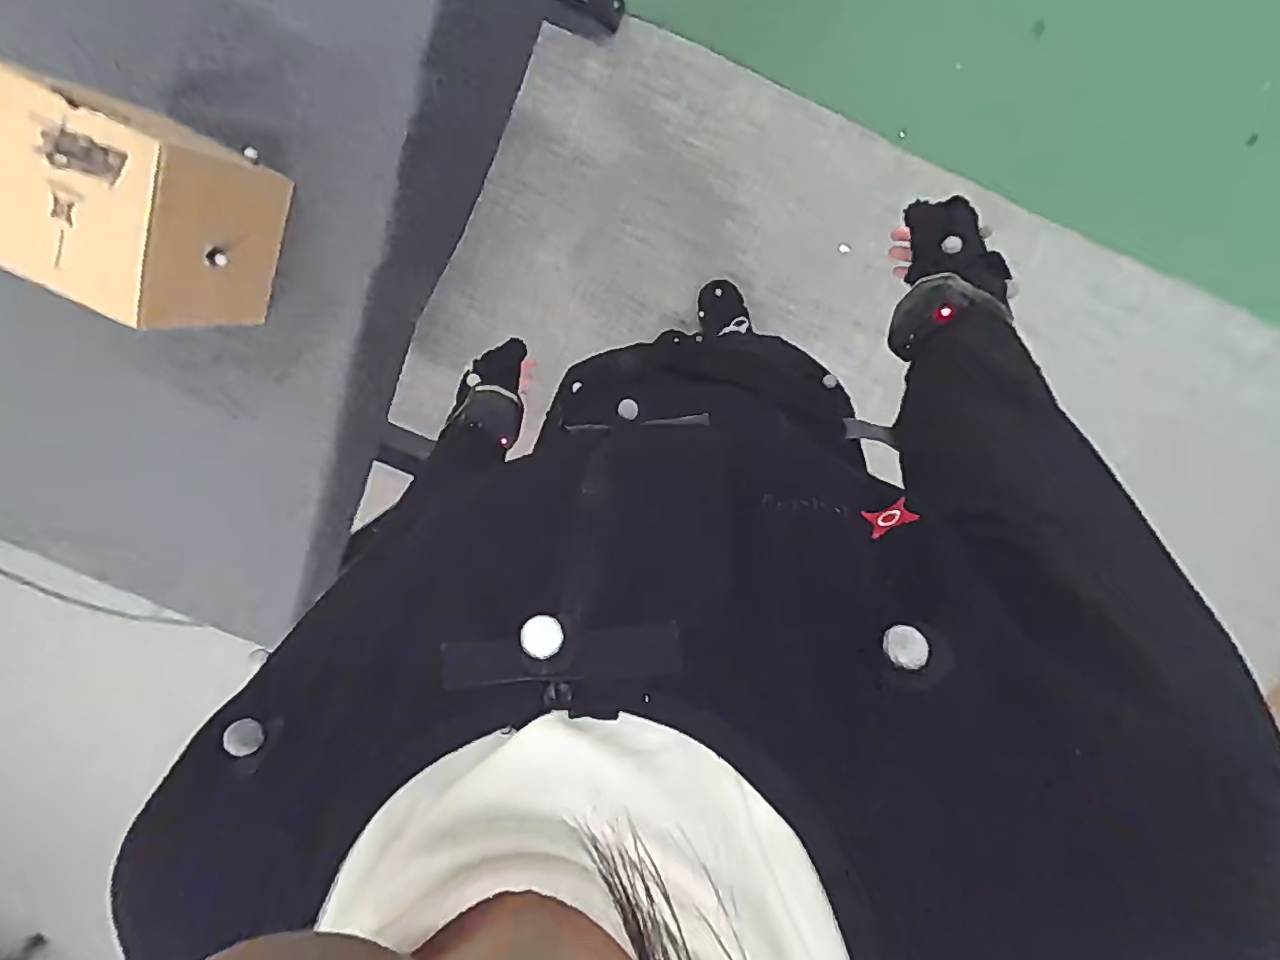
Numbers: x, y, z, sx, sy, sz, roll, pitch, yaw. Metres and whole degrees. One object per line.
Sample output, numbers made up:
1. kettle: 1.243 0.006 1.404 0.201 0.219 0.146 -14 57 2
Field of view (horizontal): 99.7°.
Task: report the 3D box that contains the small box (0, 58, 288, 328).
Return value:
1. small box: -0.511 -0.280 0.566 0.168 0.176 0.179 26 110 -3
